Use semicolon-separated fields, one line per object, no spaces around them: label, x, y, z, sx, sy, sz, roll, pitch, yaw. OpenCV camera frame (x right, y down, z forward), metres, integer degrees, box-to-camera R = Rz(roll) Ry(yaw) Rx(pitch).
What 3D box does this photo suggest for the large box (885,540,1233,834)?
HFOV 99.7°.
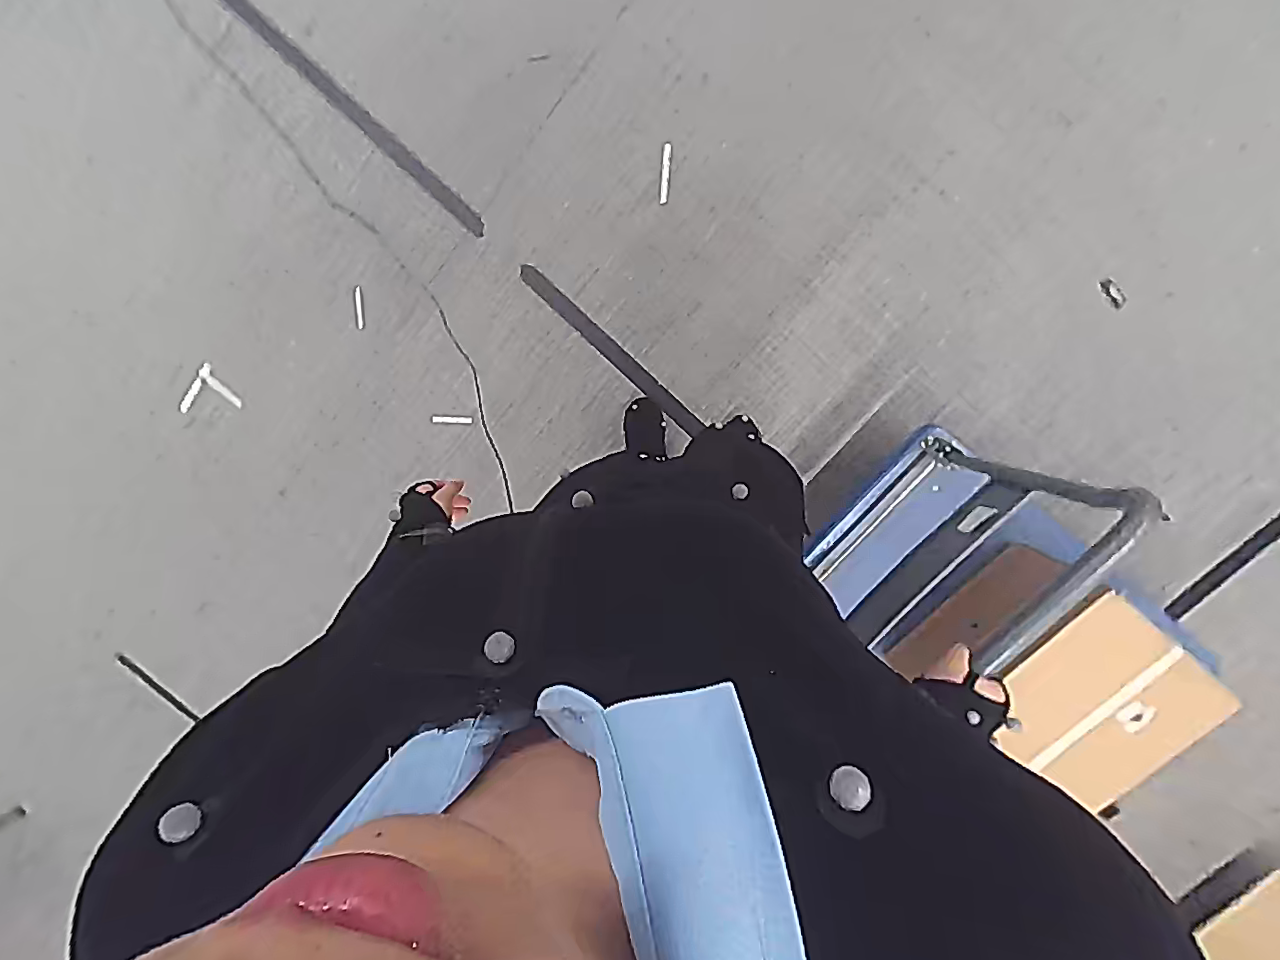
large box;0.803;0.396;1.113;0.320;0.320;0.408;41;101;-2
